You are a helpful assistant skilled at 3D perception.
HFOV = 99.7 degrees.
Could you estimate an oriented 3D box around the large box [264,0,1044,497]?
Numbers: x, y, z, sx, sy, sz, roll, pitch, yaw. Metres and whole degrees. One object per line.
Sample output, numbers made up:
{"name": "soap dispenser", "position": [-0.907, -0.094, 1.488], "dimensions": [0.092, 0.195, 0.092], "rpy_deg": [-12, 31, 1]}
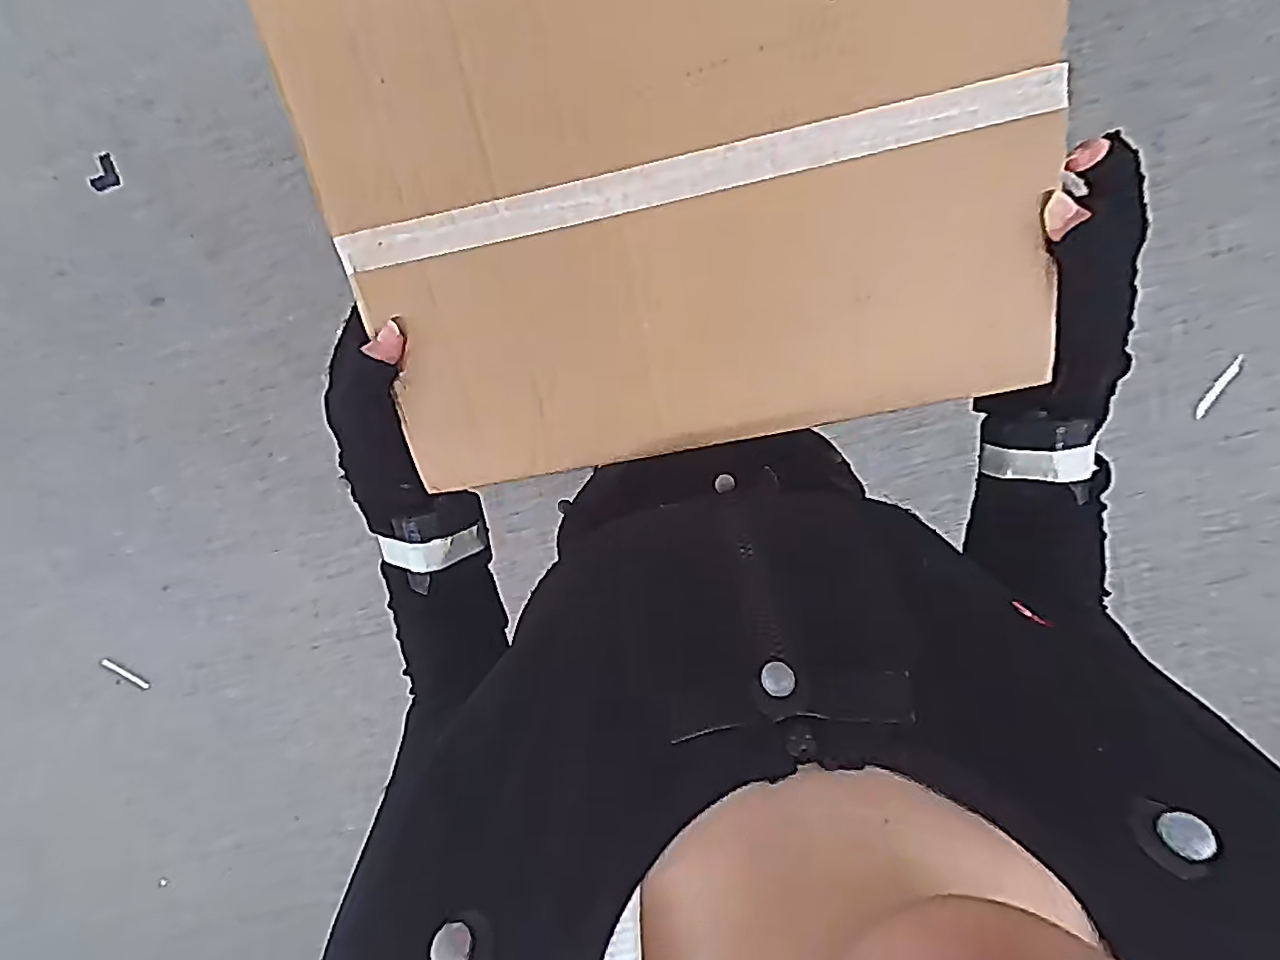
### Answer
{"name": "large box", "position": [0.028, -0.216, 0.452], "dimensions": [0.408, 0.320, 0.320], "rpy_deg": [-10, 109, 6]}
